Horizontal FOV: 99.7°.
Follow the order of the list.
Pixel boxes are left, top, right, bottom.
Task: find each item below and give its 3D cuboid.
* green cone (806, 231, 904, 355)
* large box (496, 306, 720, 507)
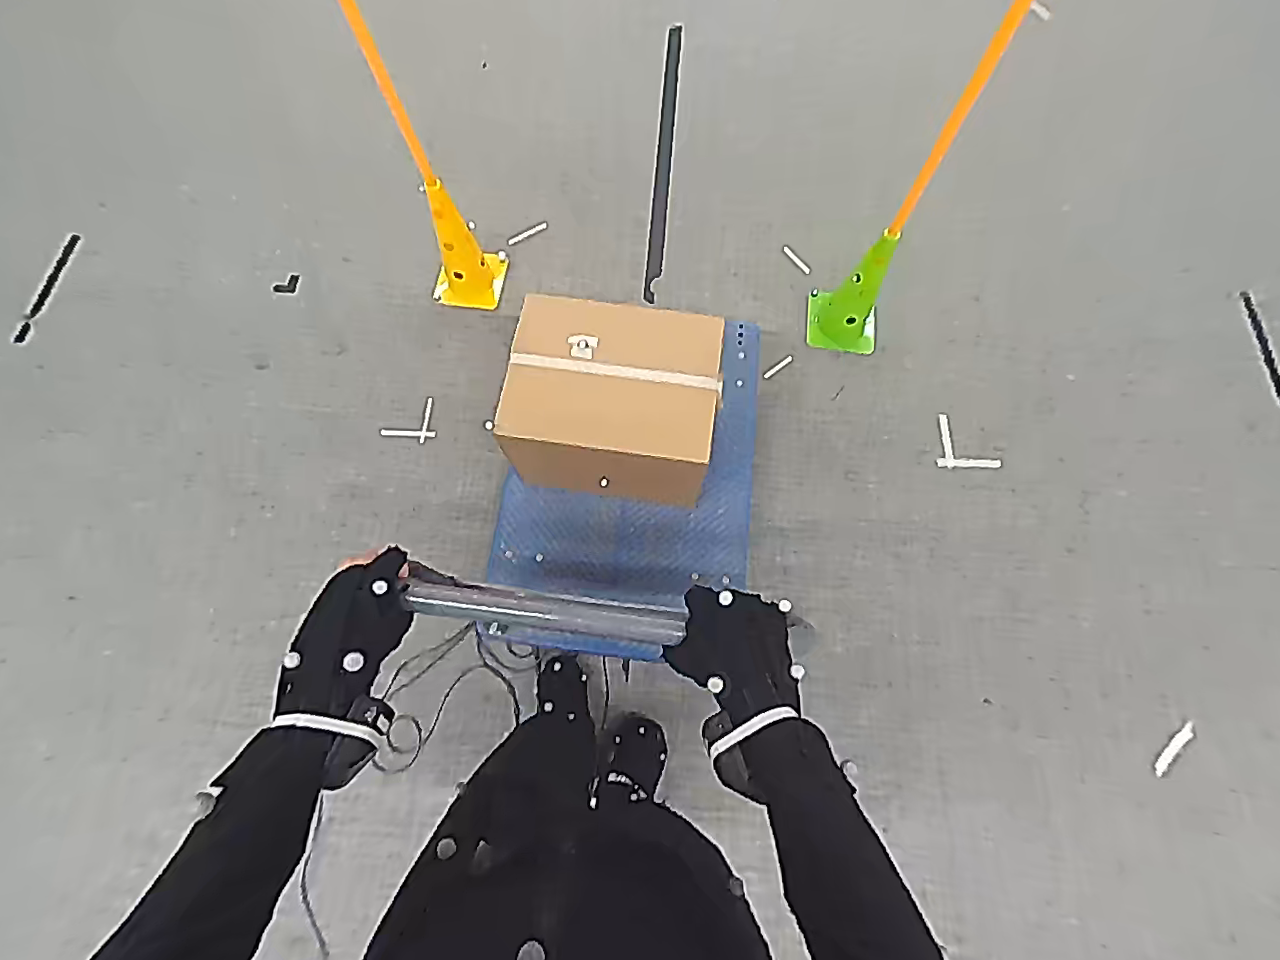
[{"bbox_3d":[0.608,-0.527,1.474,0.202,0.368,0.200,8,72,1],"label":"green cone"},{"bbox_3d":[-0.051,-0.144,1.191,0.408,0.320,0.320,8,72,4],"label":"large box"}]
